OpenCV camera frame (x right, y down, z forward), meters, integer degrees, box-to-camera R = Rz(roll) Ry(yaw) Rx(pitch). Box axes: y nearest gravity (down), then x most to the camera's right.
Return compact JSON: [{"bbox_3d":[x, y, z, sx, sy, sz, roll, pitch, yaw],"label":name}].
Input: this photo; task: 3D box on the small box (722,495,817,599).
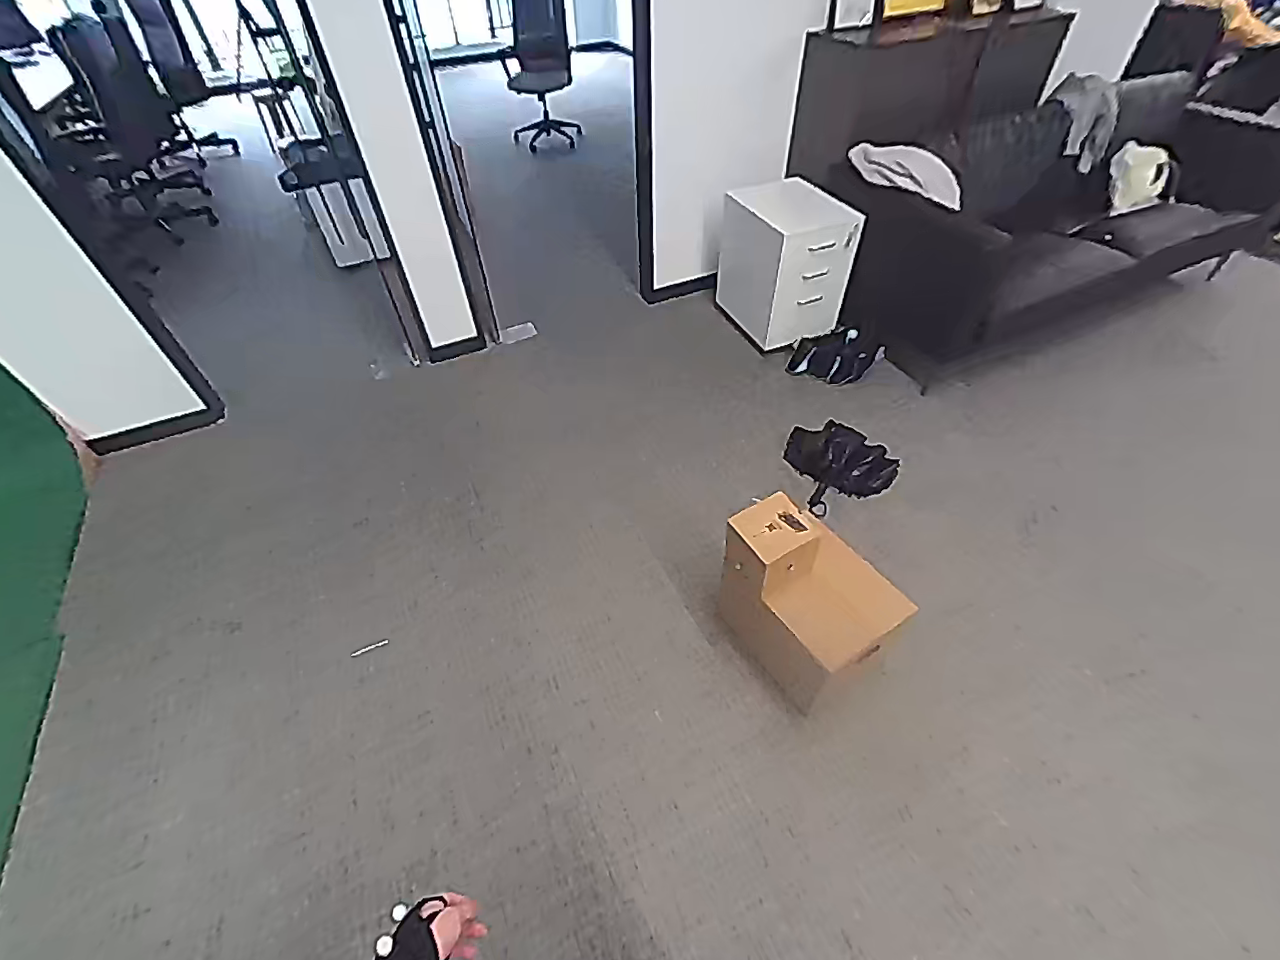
[{"bbox_3d":[0.328,0.176,1.410,0.179,0.176,0.168,-25,51,-16],"label":"small box"}]
